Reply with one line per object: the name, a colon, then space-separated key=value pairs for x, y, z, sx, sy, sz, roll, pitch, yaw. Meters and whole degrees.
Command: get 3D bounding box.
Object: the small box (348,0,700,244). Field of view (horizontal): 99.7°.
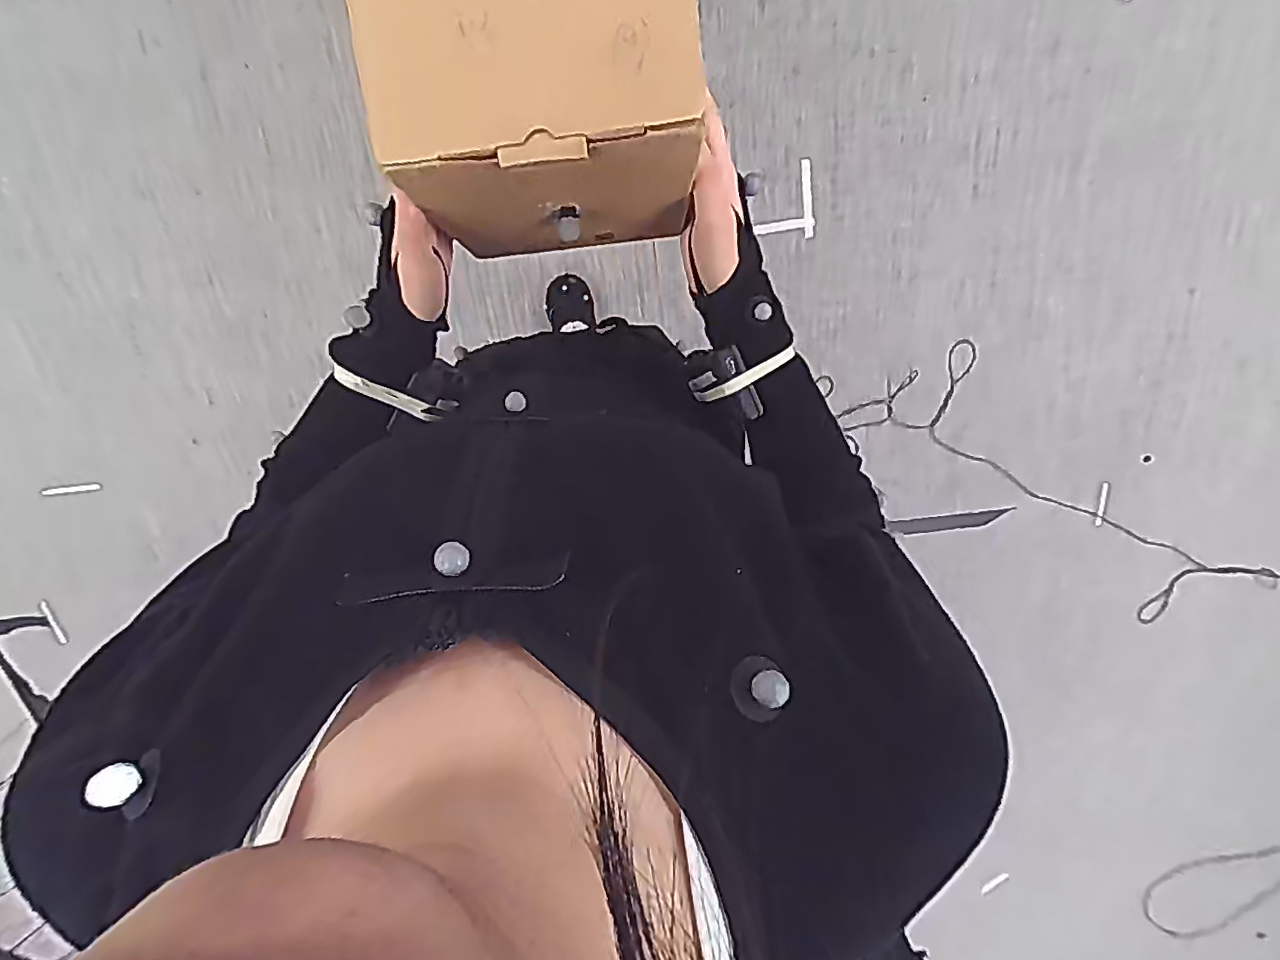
small box: x=-0.058 y=-0.258 z=0.332 sx=0.168 sy=0.176 sz=0.179 roll=-7 pitch=98 yaw=0
